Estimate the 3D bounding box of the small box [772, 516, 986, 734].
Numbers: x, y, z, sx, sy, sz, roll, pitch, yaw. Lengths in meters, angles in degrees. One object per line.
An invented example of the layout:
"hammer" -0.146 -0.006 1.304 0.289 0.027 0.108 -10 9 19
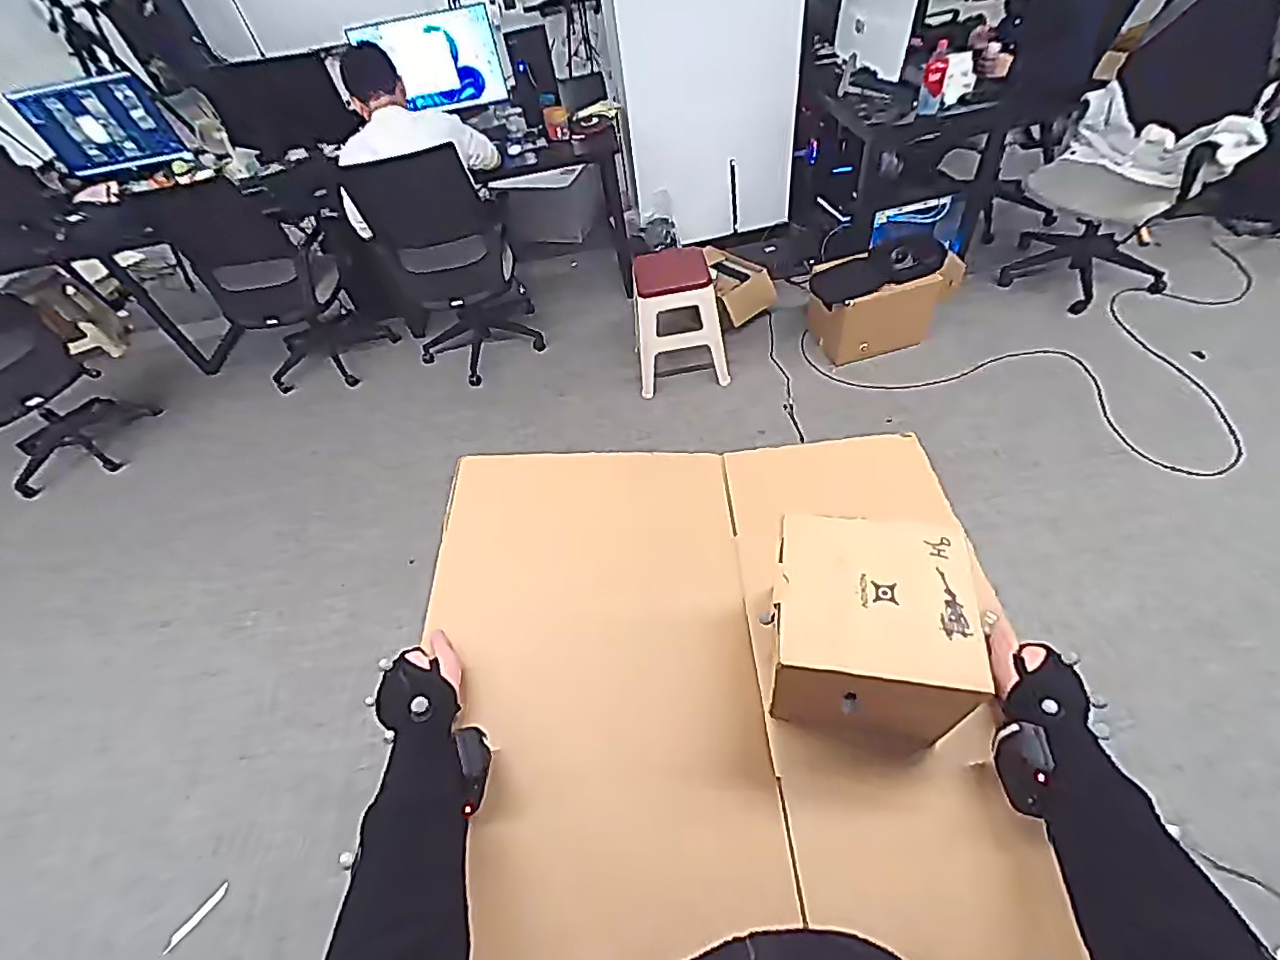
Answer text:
"small box" 0.235 0.156 0.579 0.179 0.176 0.168 3 53 14
